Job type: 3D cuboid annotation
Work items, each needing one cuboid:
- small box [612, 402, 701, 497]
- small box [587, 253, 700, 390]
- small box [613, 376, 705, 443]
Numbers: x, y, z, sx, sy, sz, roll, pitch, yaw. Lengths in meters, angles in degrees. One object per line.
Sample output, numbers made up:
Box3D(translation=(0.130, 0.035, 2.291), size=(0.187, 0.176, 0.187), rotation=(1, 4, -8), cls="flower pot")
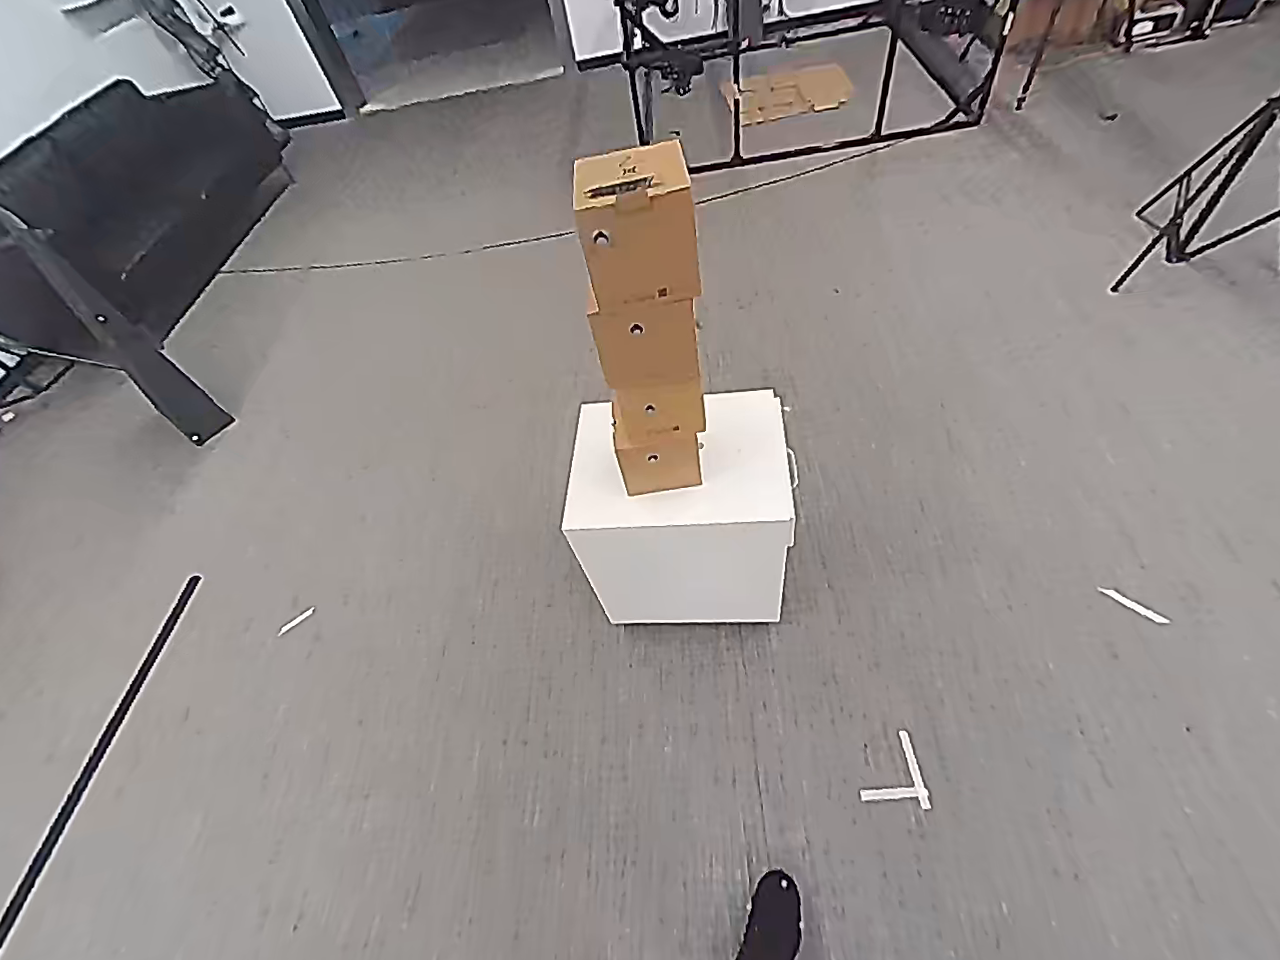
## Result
Box3D(translation=(0.040, -0.077, 1.236), size=(0.179, 0.176, 0.168), rotation=(-8, 52, 4), cls="small box")
Box3D(translation=(0.012, -0.280, 0.980), size=(0.179, 0.176, 0.168), rotation=(-6, 52, 7), cls="small box")
Box3D(translation=(0.040, -0.191, 1.116), size=(0.168, 0.176, 0.179), rotation=(-8, 51, 5), cls="small box")
